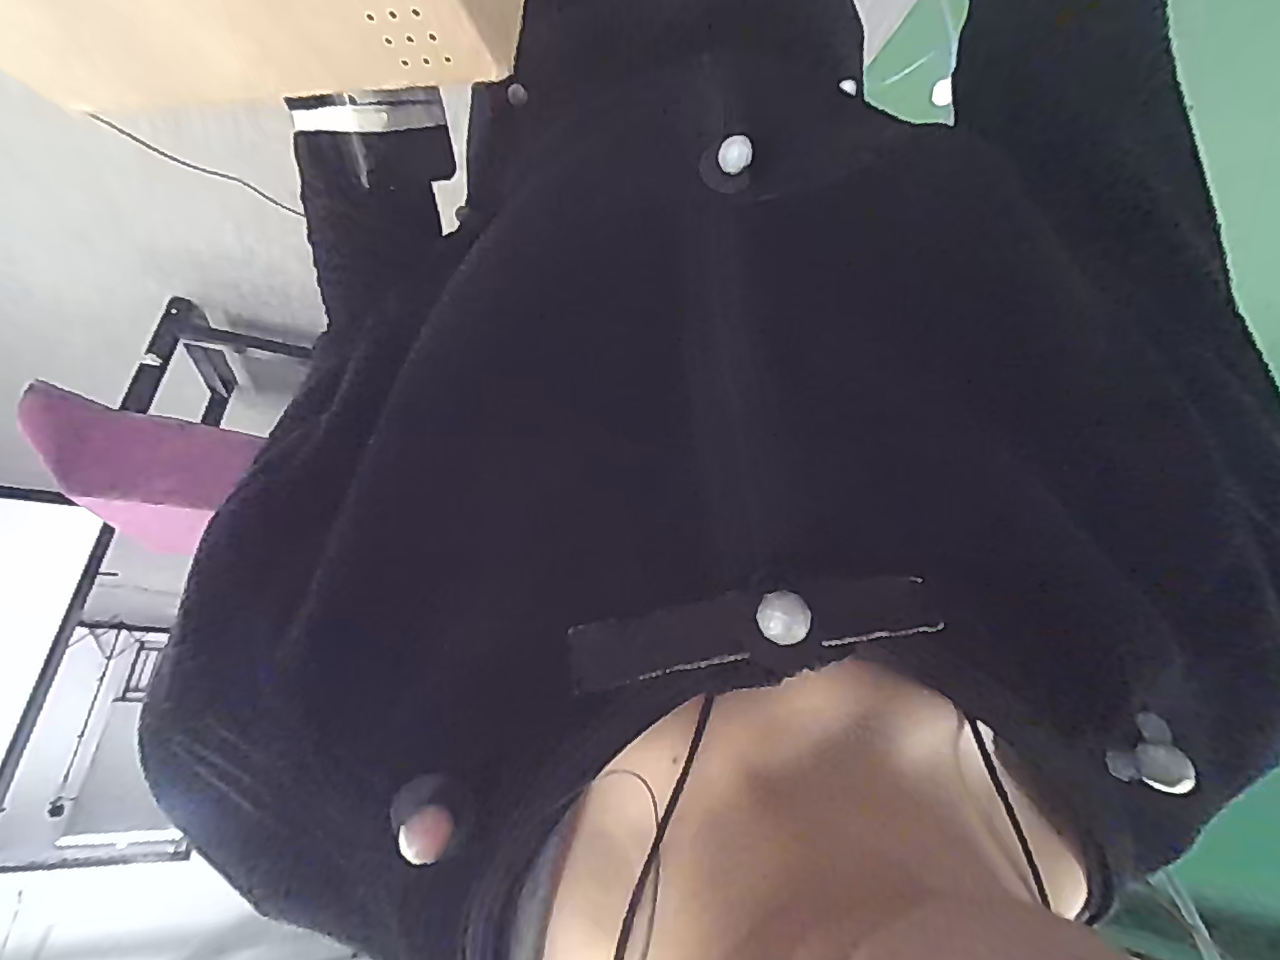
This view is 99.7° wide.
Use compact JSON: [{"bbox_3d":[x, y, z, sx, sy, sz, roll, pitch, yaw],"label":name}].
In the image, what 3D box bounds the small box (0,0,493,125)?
[{"bbox_3d":[-0.128,-0.208,0.099,0.176,0.179,0.168,8,176,14],"label":"small box"}]
